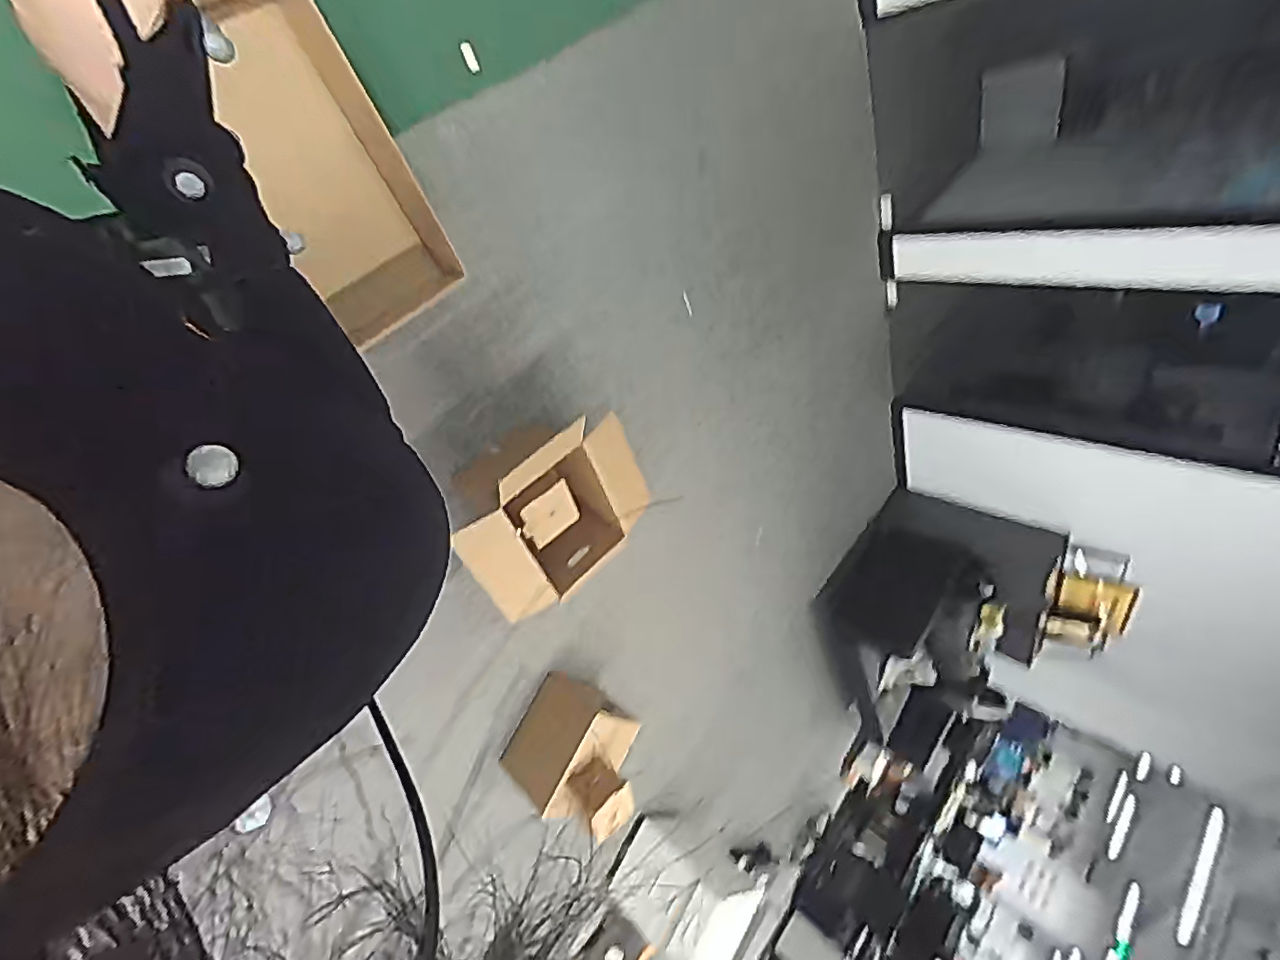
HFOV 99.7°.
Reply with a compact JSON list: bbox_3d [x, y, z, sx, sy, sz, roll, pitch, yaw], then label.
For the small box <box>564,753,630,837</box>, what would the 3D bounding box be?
[{"bbox_3d":[-0.161,1.137,1.975,0.168,0.176,0.179,-27,122,-35],"label":"small box"}]
